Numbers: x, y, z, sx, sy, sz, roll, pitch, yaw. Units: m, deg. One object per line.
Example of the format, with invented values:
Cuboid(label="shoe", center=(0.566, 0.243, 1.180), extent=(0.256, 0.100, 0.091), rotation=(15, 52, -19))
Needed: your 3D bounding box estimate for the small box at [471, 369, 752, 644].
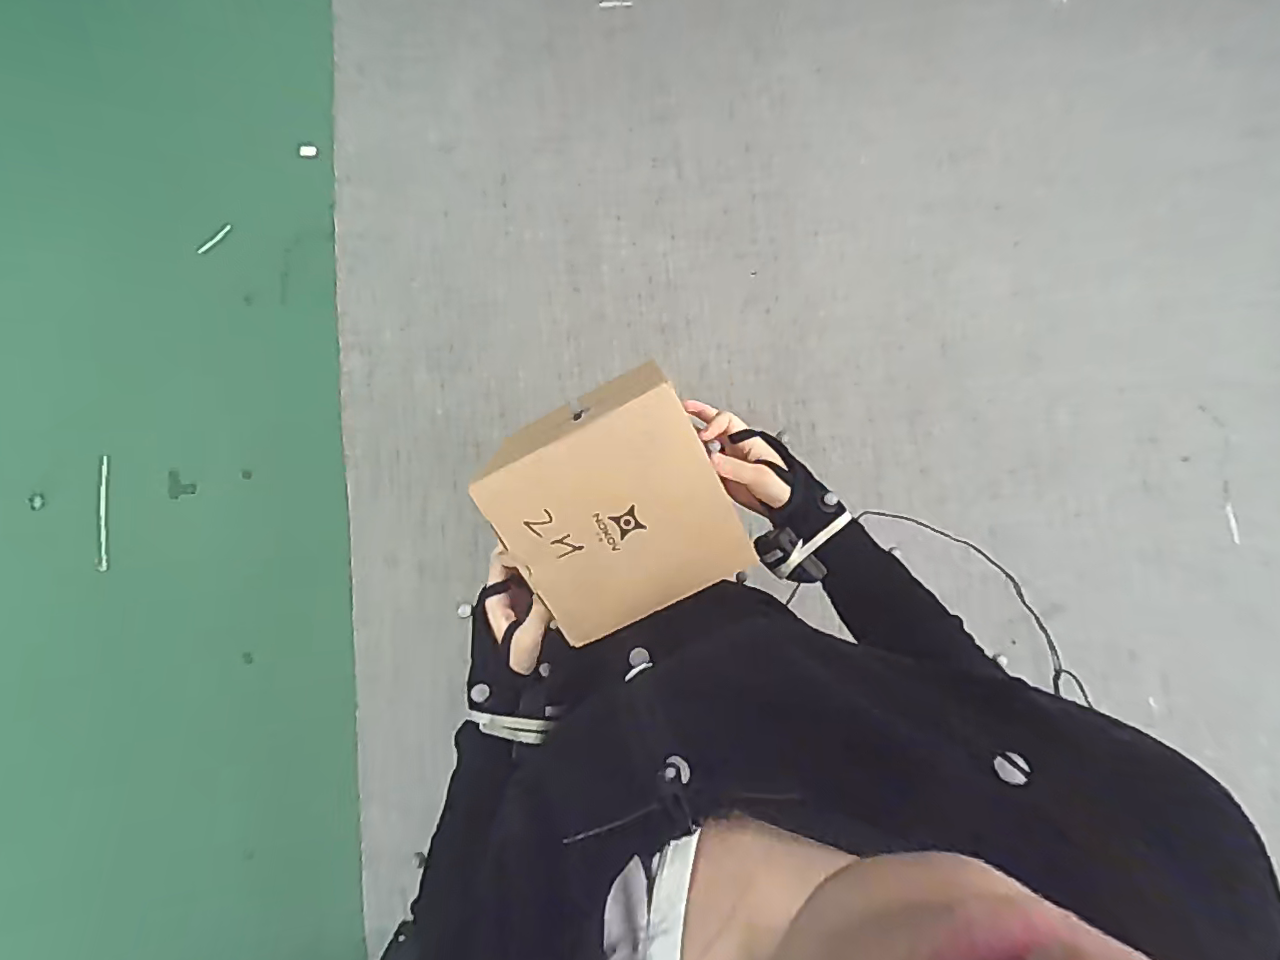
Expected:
Cuboid(label="small box", center=(-0.023, 0.010, 0.502), extent=(0.179, 0.176, 0.168), rotation=(-26, 106, 6))
